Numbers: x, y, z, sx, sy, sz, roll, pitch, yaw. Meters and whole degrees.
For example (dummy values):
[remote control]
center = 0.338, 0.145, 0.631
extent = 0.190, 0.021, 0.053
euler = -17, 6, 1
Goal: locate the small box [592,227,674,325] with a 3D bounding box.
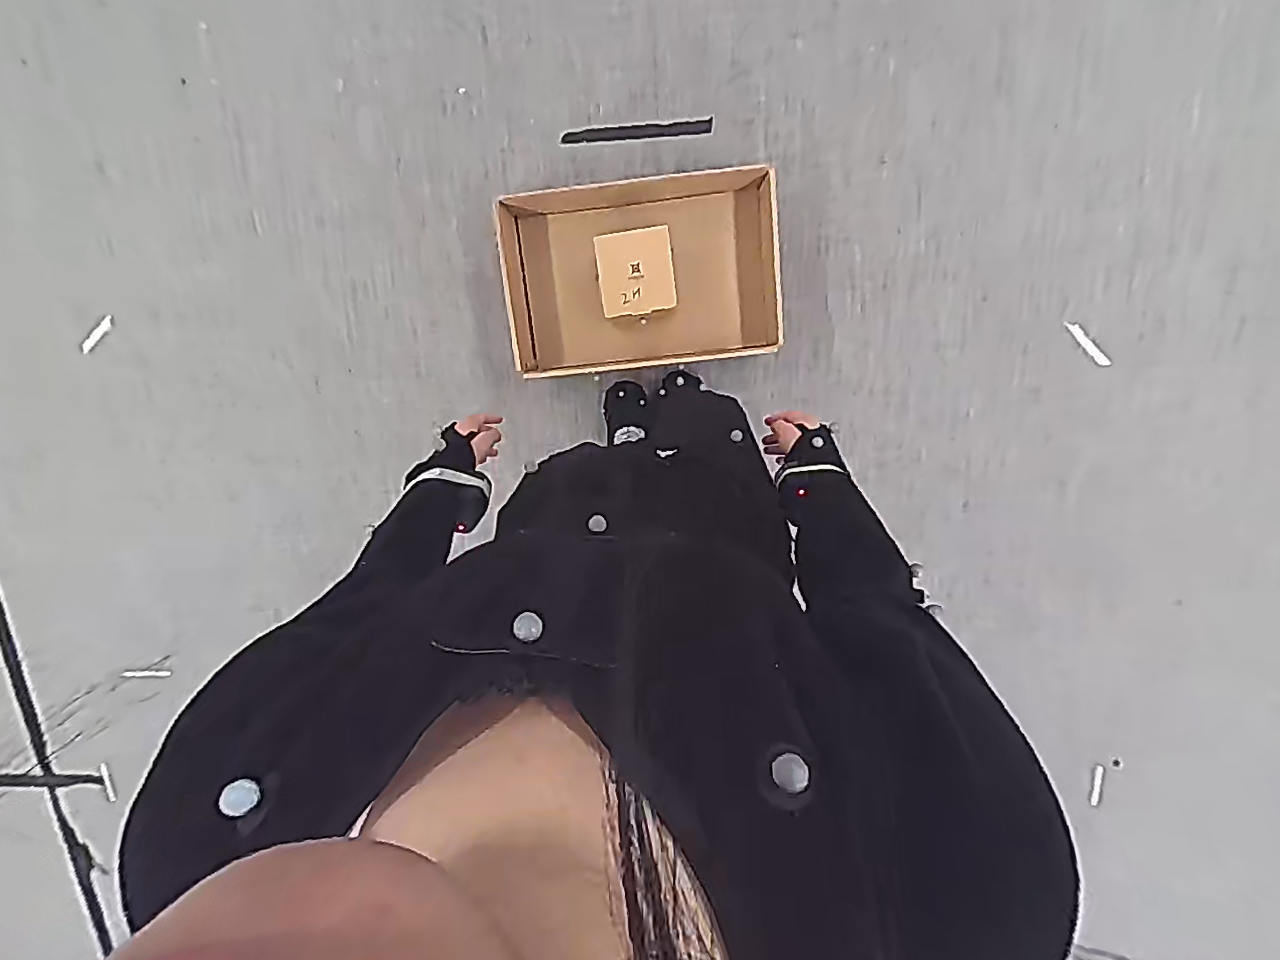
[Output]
[small box]
center = -0.013, -0.468, 1.260
extent = 0.168, 0.176, 0.179
euler = -7, 102, 3
